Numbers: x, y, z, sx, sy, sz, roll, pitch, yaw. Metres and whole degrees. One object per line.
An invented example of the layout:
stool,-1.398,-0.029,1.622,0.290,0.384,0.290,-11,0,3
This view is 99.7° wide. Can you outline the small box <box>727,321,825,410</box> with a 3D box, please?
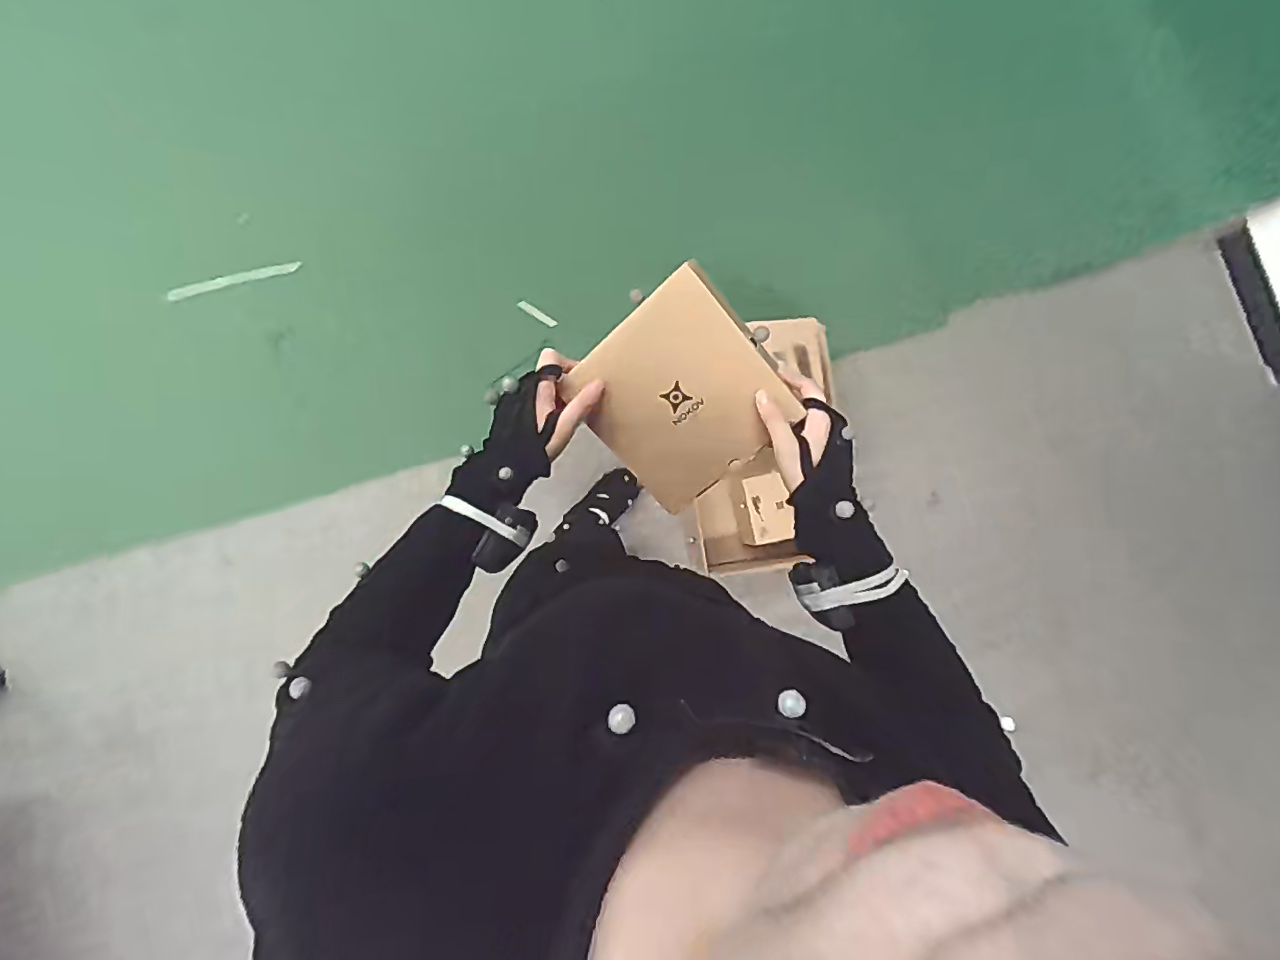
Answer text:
small box,0.310,-0.261,1.260,0.179,0.176,0.168,-4,87,-2
